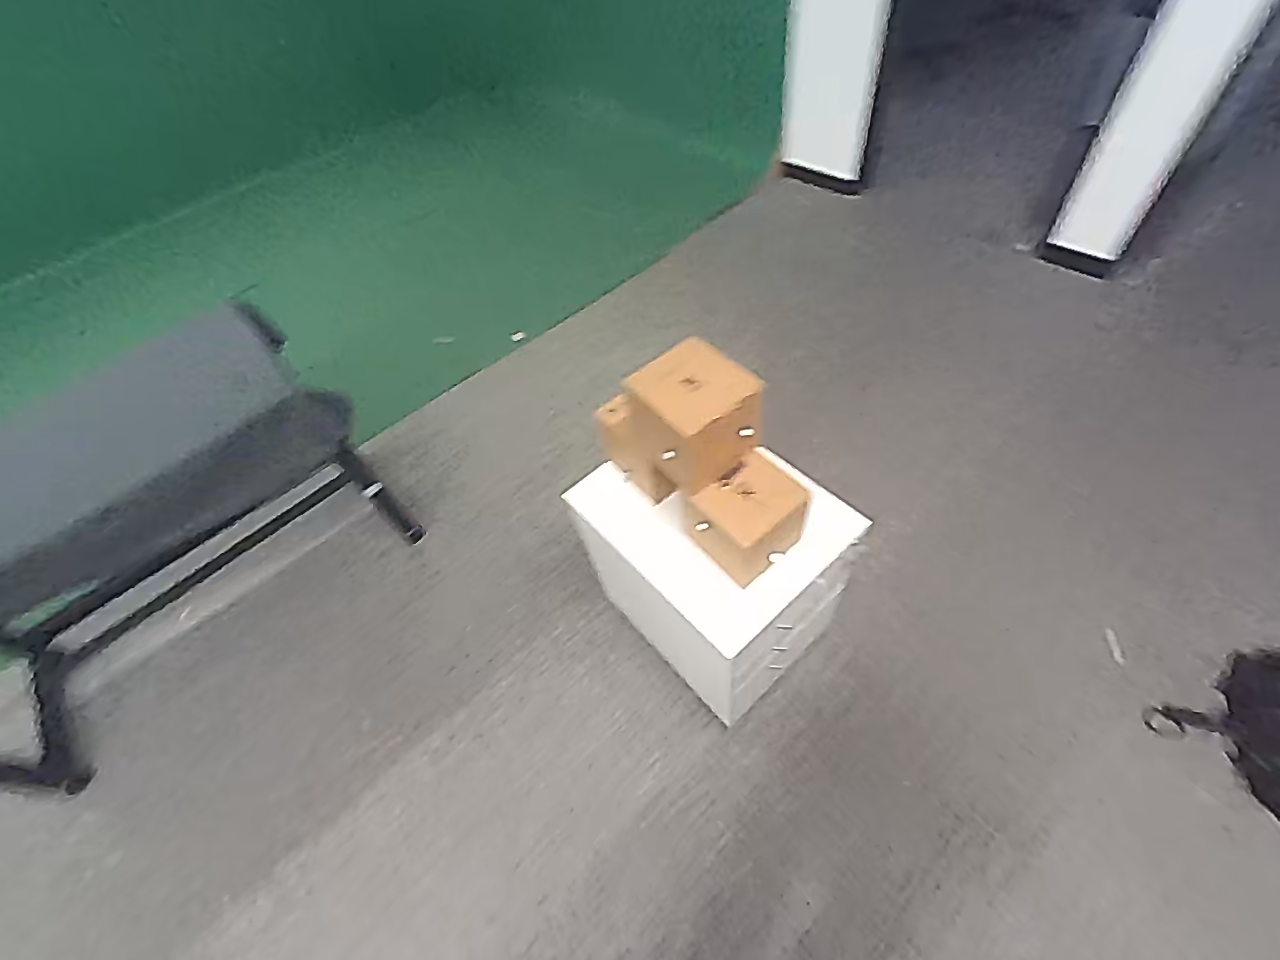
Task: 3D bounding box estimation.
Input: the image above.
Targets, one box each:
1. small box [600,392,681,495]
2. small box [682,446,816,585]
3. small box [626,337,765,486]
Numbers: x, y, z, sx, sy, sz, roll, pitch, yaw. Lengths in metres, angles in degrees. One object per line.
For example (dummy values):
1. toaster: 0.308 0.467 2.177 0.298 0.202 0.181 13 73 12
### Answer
1. small box: 0.041 -0.091 1.150 0.168 0.176 0.179 -37 59 -18
2. small box: 0.198 0.063 1.012 0.168 0.176 0.179 -35 57 -16
3. small box: 0.100 -0.113 0.955 0.168 0.176 0.179 -35 56 -17
